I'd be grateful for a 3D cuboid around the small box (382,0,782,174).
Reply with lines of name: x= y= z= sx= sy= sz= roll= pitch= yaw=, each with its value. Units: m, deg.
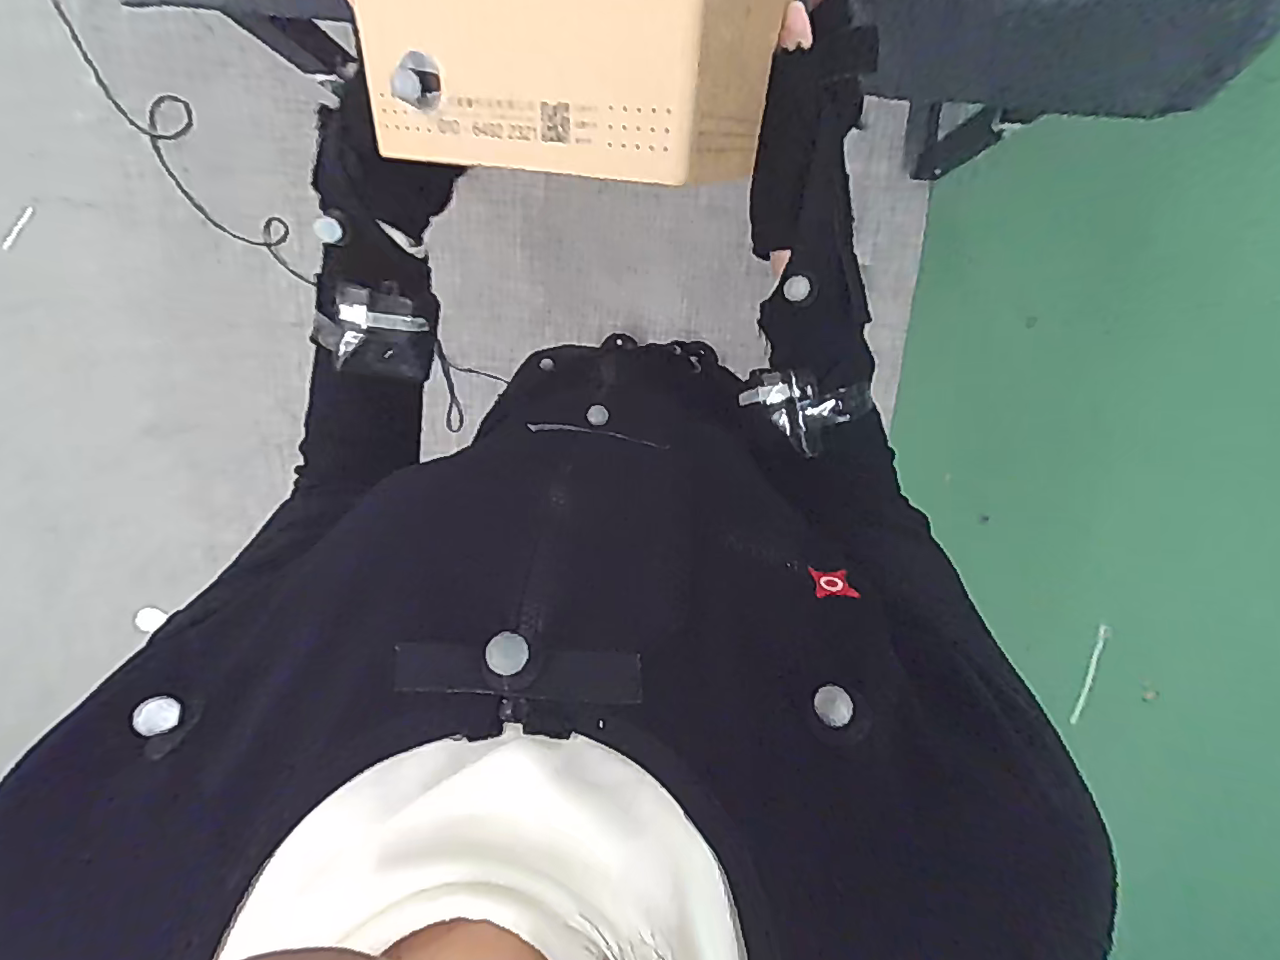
small box: x=-0.019 y=-0.263 z=0.284 sx=0.168 sy=0.179 sz=0.176 roll=16 pitch=124 yaw=17
